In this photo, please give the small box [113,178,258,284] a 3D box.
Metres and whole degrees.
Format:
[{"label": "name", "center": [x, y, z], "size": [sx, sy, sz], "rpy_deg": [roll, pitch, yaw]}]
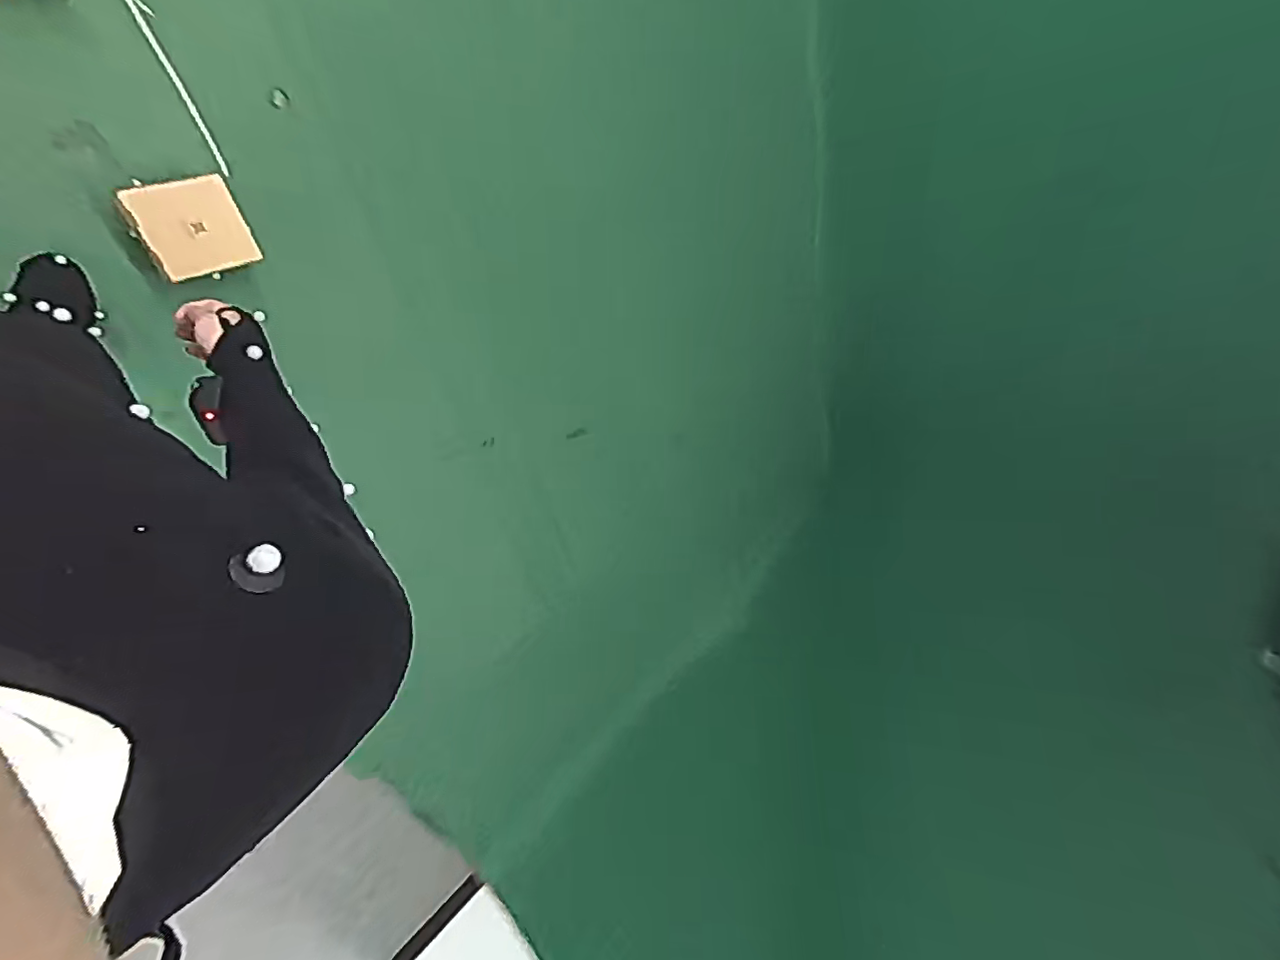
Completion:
[{"label": "small box", "center": [-0.953, -0.525, 1.134], "size": [0.179, 0.176, 0.168], "rpy_deg": [-34, 129, -30]}]
